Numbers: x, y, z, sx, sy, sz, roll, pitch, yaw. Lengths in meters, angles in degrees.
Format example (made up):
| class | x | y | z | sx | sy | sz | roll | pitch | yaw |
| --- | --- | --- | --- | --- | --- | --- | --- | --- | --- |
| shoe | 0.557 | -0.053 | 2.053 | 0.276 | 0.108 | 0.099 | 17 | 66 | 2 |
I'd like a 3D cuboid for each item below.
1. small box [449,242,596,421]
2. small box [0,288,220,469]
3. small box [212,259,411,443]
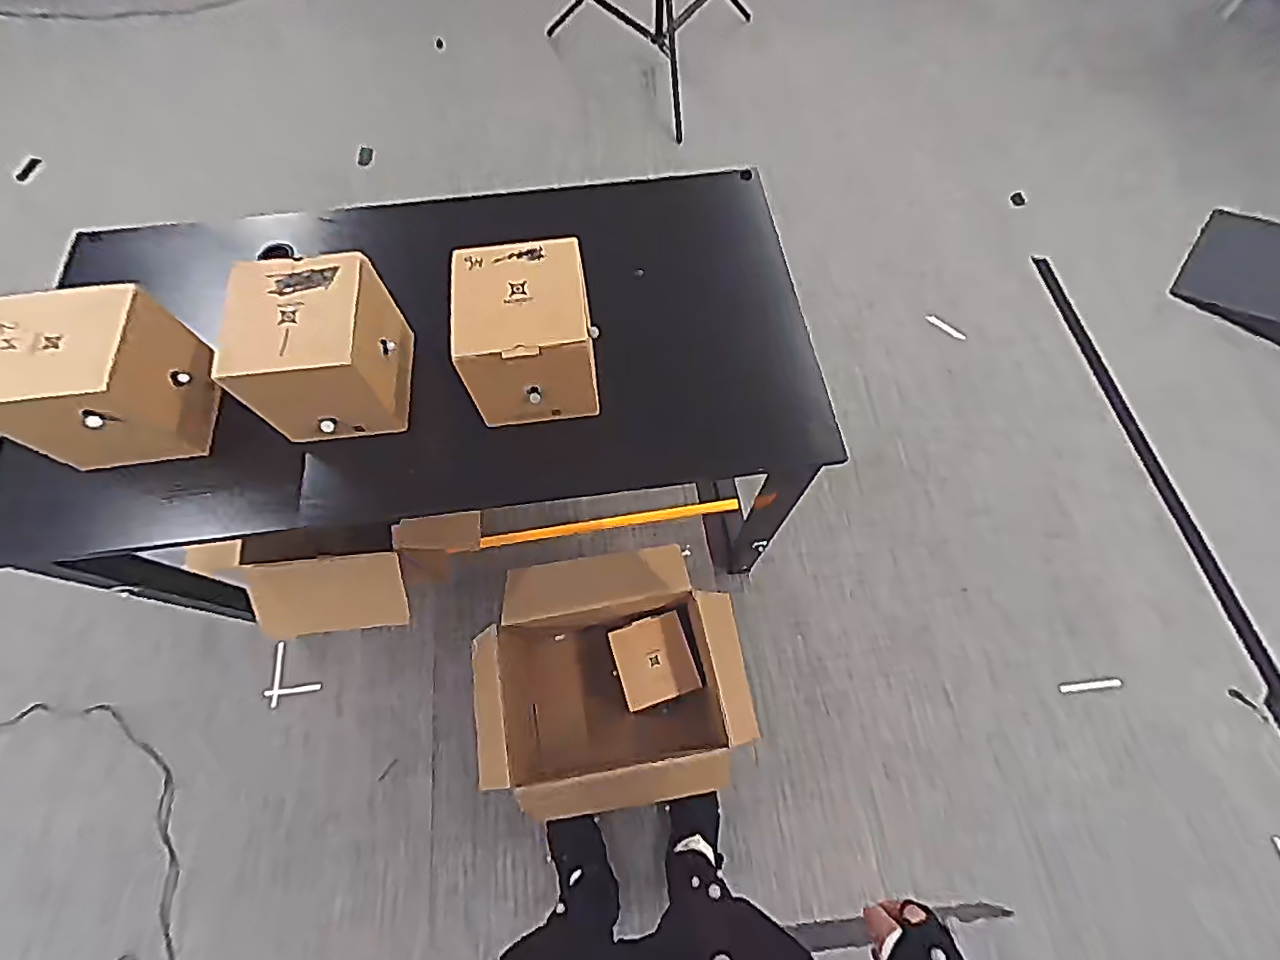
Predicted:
| class | x | y | z | sx | sy | sz | roll | pitch | yaw |
| --- | --- | --- | --- | --- | --- | --- | --- | --- | --- |
| small box | -0.155 | -0.194 | 0.751 | 0.168 | 0.176 | 0.179 | -7 | 67 | -2 |
| small box | -0.711 | -0.128 | 0.724 | 0.179 | 0.176 | 0.168 | -8 | 66 | -3 |
| small box | -0.430 | -0.170 | 0.742 | 0.168 | 0.176 | 0.179 | -6 | 67 | -2 |
